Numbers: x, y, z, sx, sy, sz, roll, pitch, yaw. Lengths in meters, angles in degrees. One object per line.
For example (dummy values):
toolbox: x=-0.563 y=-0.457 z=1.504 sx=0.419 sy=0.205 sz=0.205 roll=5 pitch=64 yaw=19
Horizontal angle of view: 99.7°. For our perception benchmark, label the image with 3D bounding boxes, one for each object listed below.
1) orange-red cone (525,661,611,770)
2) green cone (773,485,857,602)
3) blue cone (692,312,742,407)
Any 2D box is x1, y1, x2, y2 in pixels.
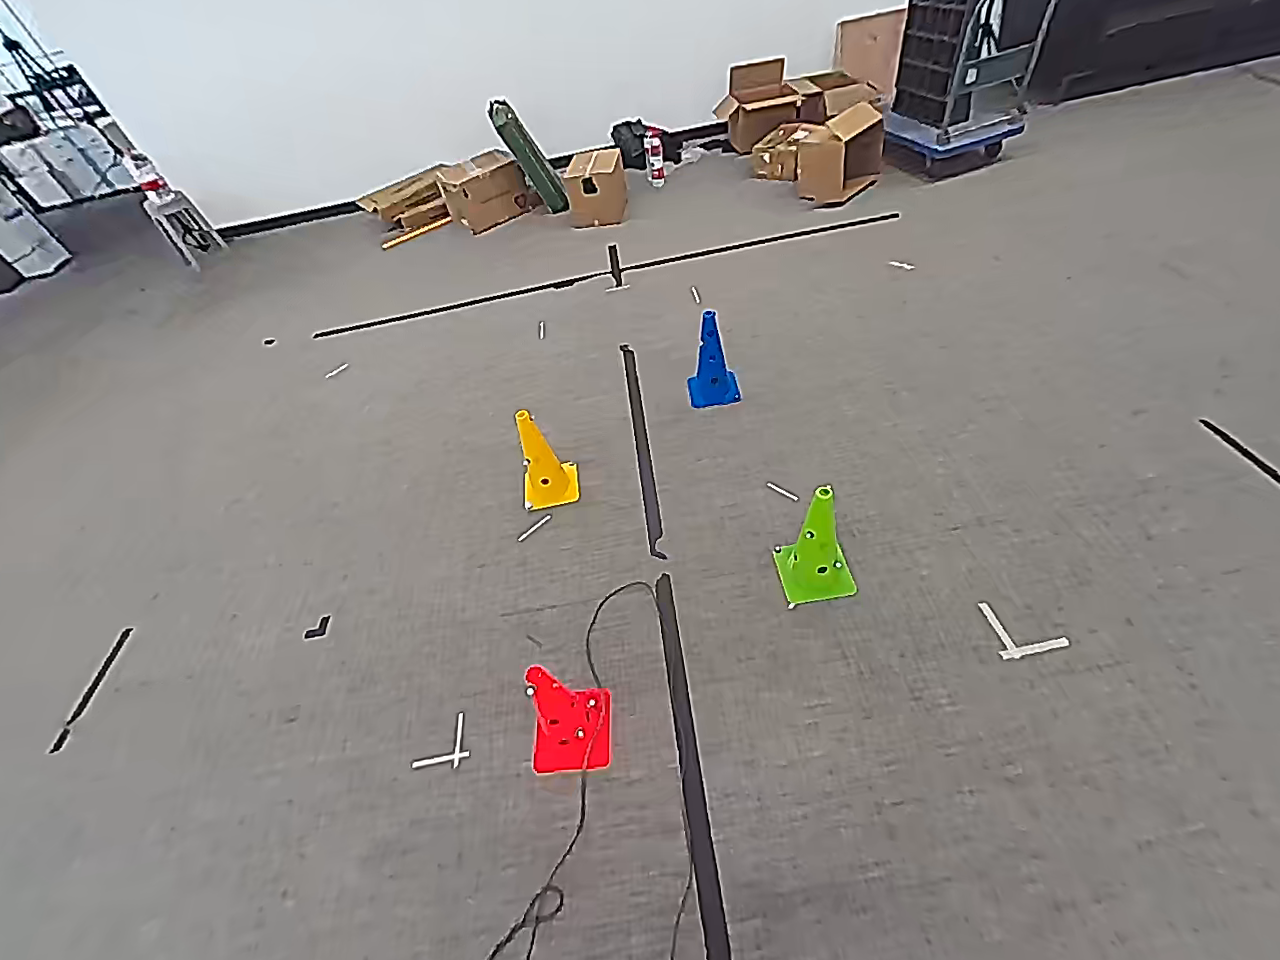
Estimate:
orange-red cone: x=-0.203 y=0.527 z=1.282 sx=0.199 sy=0.360 sz=0.198 roll=-8 pitch=46 yaw=6
green cone: x=0.492 y=0.151 z=1.478 sx=0.202 sy=0.368 sz=0.200 roll=-9 pitch=47 yaw=2
blue cone: x=0.294 y=-0.480 z=2.117 sx=0.192 sy=0.380 sz=0.193 roll=-7 pitch=47 yaw=4
